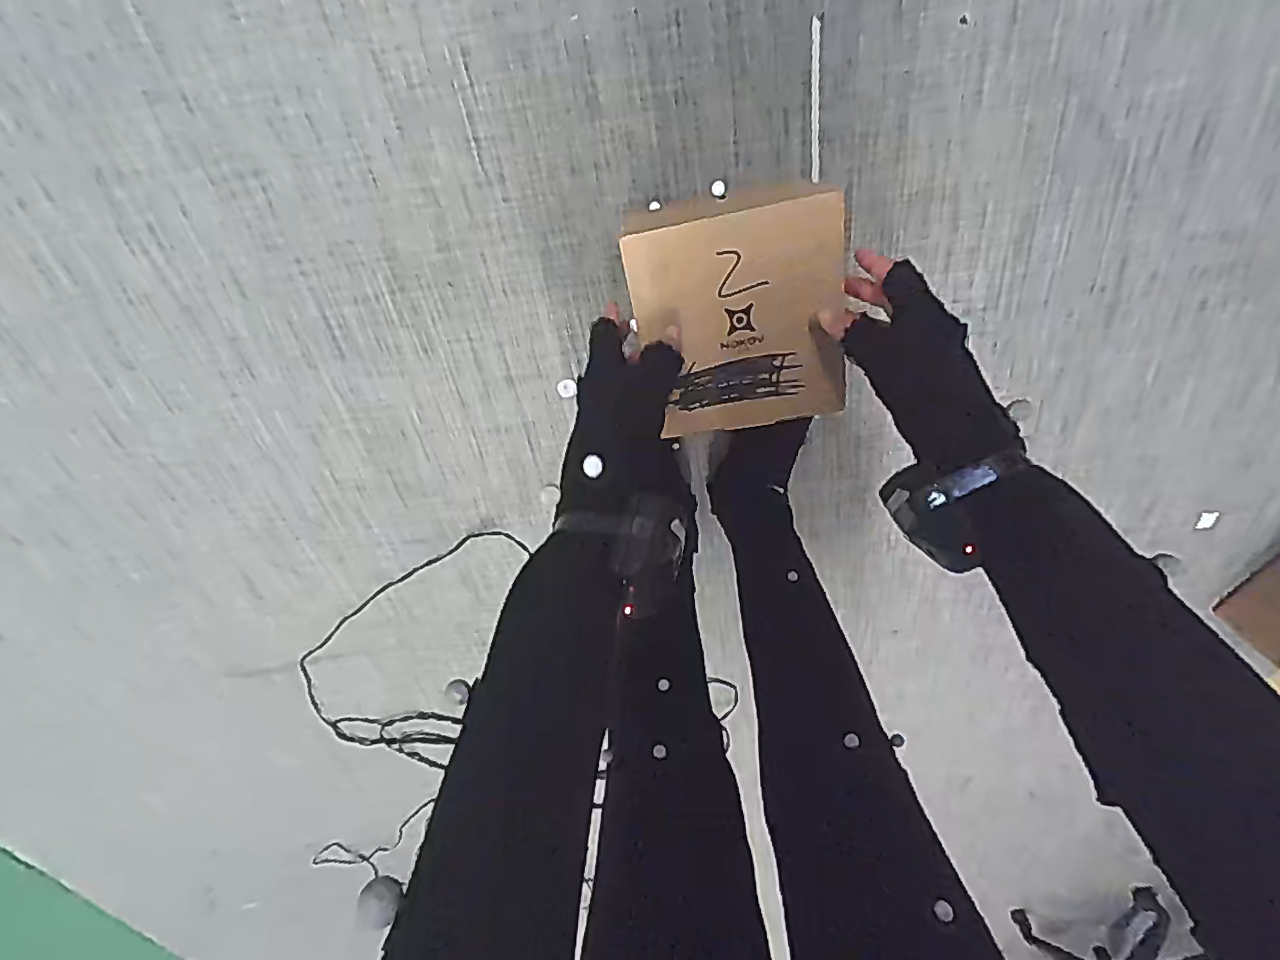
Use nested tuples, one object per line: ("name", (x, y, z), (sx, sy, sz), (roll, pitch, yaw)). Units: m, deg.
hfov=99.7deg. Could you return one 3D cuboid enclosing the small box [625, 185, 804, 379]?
("small box", (0.087, -0.242, 0.647), (0.179, 0.176, 0.168), (-9, 121, 9))
